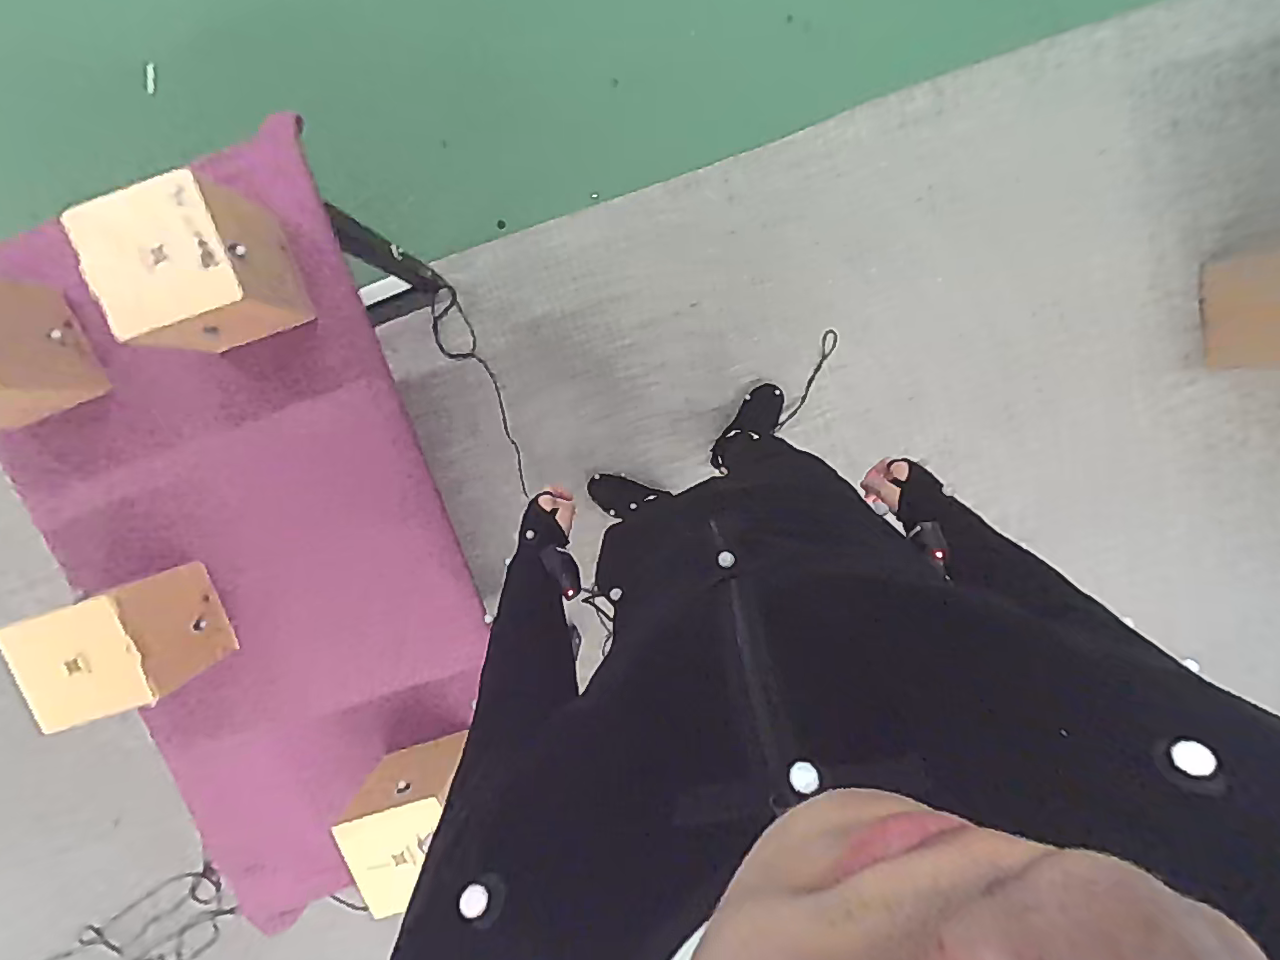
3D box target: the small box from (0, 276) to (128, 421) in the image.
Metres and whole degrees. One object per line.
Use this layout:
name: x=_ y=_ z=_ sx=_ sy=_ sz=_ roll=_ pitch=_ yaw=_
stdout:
small box: x=-0.944 y=-0.187 z=0.805 sx=0.179 sy=0.176 sz=0.168 roll=-20 pitch=101 yaw=3

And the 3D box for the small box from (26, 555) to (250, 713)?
small box: x=-0.790 y=0.237 z=0.872 sx=0.179 sy=0.176 sz=0.168 roll=-18 pitch=97 yaw=2

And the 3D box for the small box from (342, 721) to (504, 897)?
small box: x=-0.345 y=0.536 z=0.904 sx=0.179 sy=0.176 sz=0.168 roll=-19 pitch=97 yaw=6

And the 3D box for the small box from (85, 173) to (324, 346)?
small box: x=-0.608 y=-0.301 z=0.780 sx=0.179 sy=0.176 sz=0.168 roll=-18 pitch=99 yaw=4
